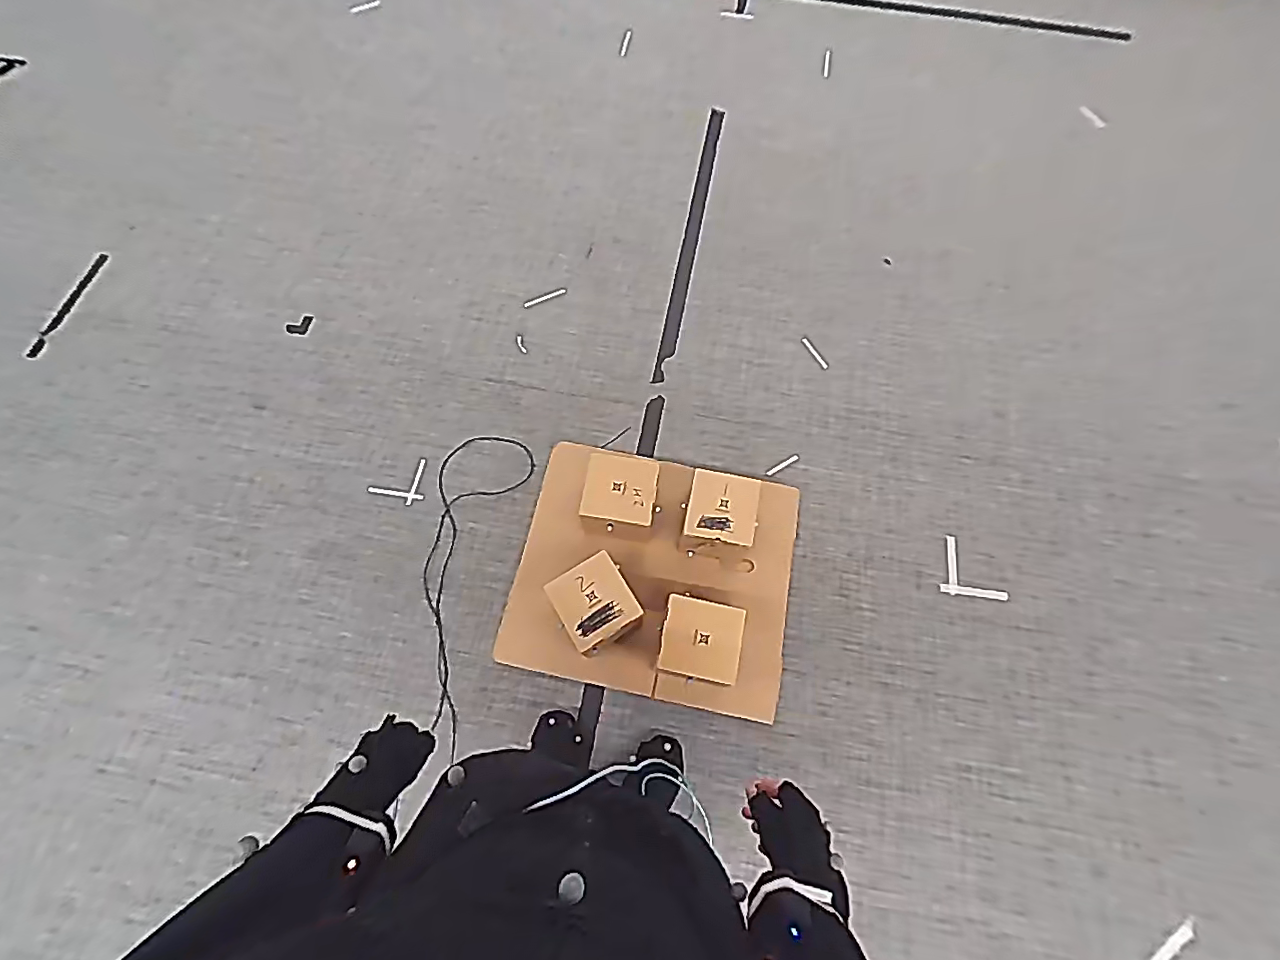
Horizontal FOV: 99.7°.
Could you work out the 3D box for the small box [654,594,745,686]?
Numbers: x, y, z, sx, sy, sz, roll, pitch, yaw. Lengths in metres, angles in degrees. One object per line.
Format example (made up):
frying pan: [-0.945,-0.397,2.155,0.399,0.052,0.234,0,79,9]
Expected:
small box: [0.135,0.377,1.267,0.179,0.176,0.168,12,69,5]

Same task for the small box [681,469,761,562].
small box: [0.200,0.096,1.374,0.168,0.176,0.179,12,68,4]

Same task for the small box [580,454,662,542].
small box: [-0.045,0.051,1.385,0.179,0.176,0.168,10,70,3]
